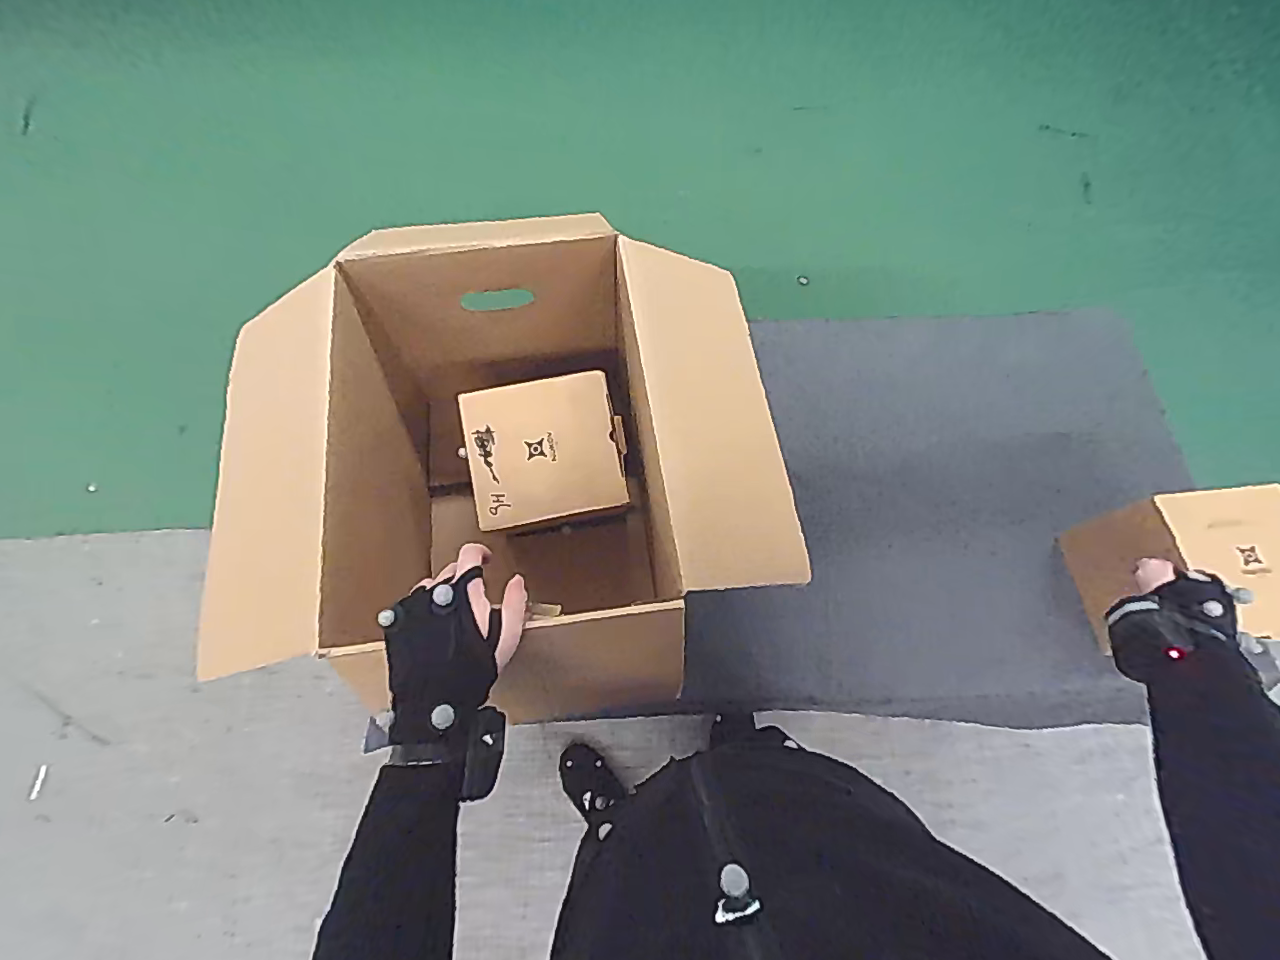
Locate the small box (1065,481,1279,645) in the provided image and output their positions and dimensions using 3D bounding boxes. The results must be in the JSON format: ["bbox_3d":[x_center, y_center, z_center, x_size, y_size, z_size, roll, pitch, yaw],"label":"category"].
[{"bbox_3d":[0.715,0.117,0.703,0.168,0.176,0.179,-5,68,-3],"label":"small box"}]
